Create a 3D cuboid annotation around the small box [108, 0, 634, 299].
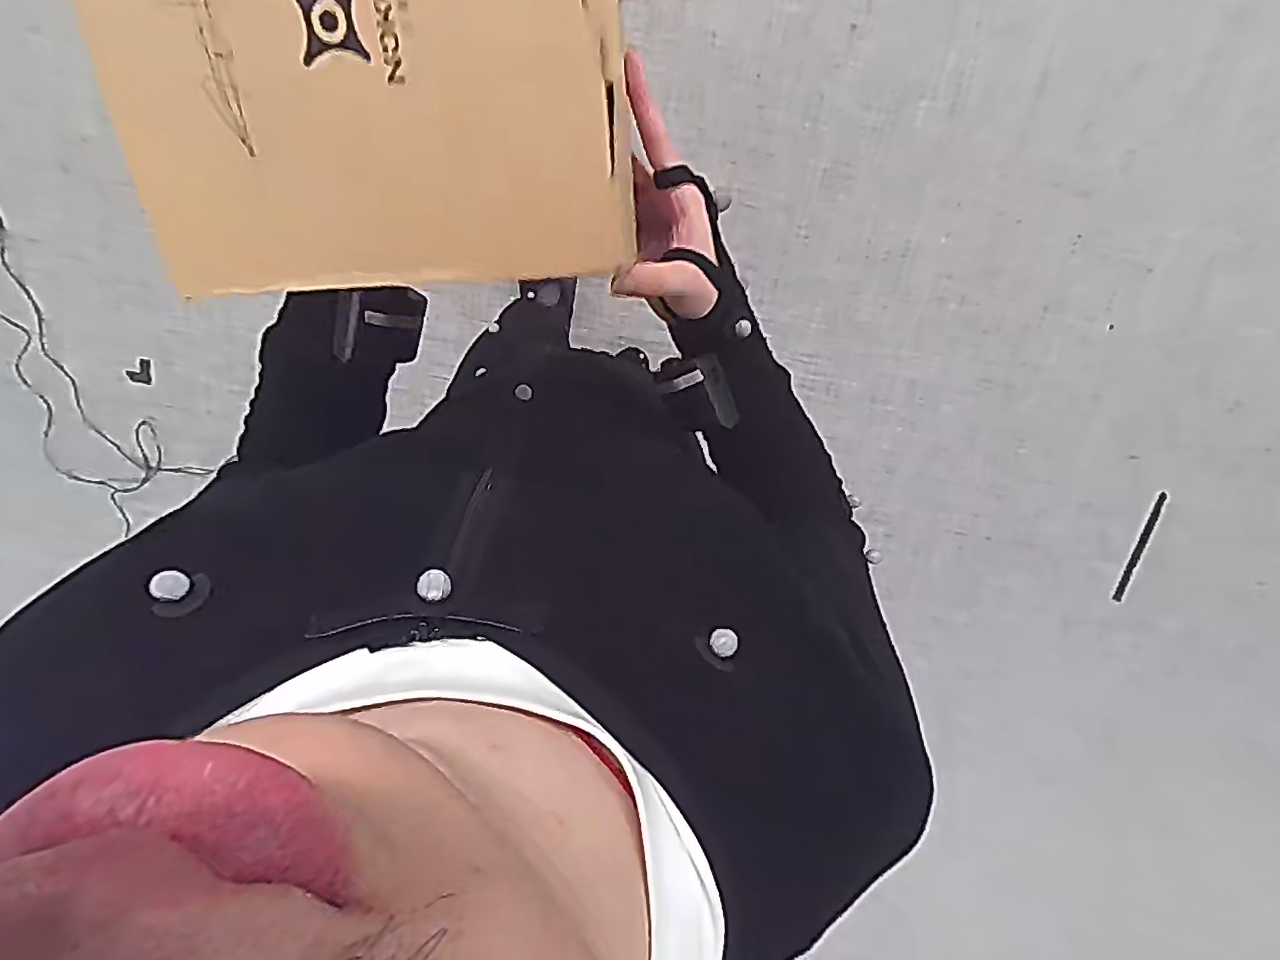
[{"bbox_3d":[-0.094,-0.184,0.263,0.179,0.176,0.168,-3,111,4],"label":"small box"}]
